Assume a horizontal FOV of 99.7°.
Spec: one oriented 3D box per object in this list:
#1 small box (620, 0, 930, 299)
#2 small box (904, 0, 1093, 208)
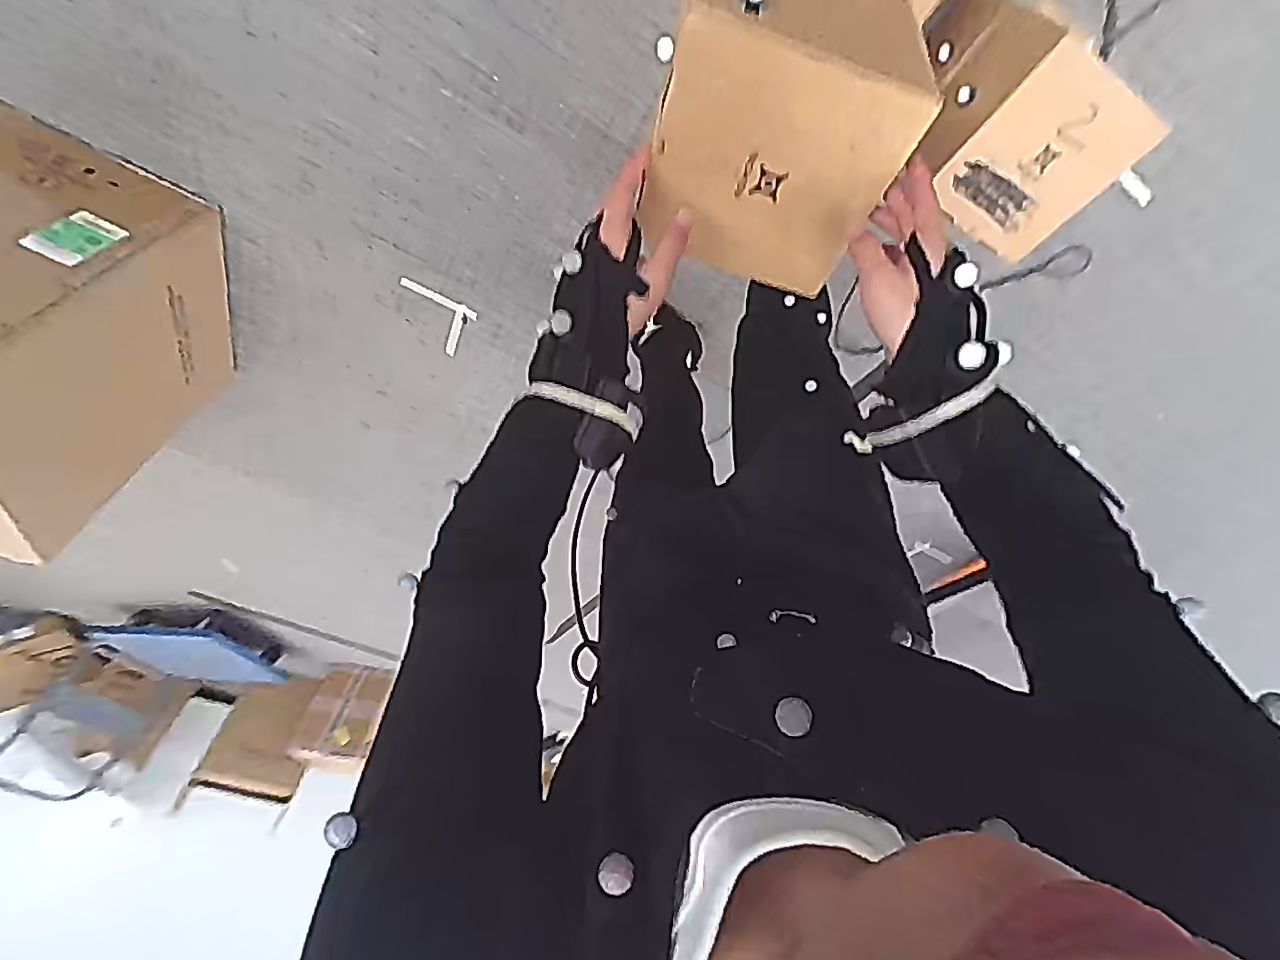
[{"bbox_3d":[0.095,-0.284,0.437,0.179,0.176,0.168,14,149,-7],"label":"small box"},{"bbox_3d":[0.462,-0.534,0.757,0.168,0.176,0.179,25,138,-17],"label":"small box"}]
